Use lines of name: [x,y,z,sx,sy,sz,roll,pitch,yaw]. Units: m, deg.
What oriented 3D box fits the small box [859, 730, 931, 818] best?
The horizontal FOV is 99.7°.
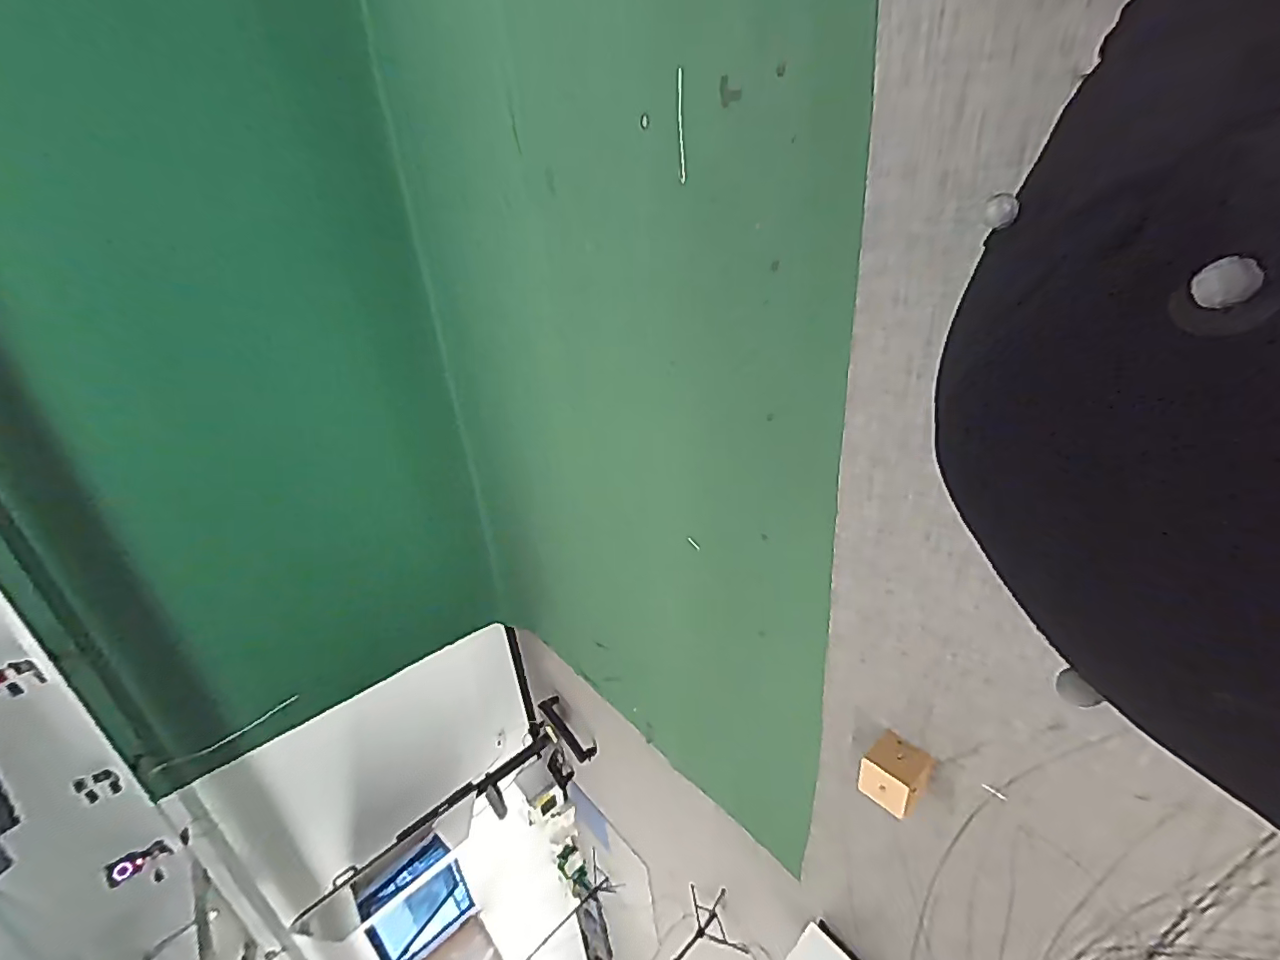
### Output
small box: [0.901,1.031,1.911,0.168,0.176,0.179,24,128,45]
